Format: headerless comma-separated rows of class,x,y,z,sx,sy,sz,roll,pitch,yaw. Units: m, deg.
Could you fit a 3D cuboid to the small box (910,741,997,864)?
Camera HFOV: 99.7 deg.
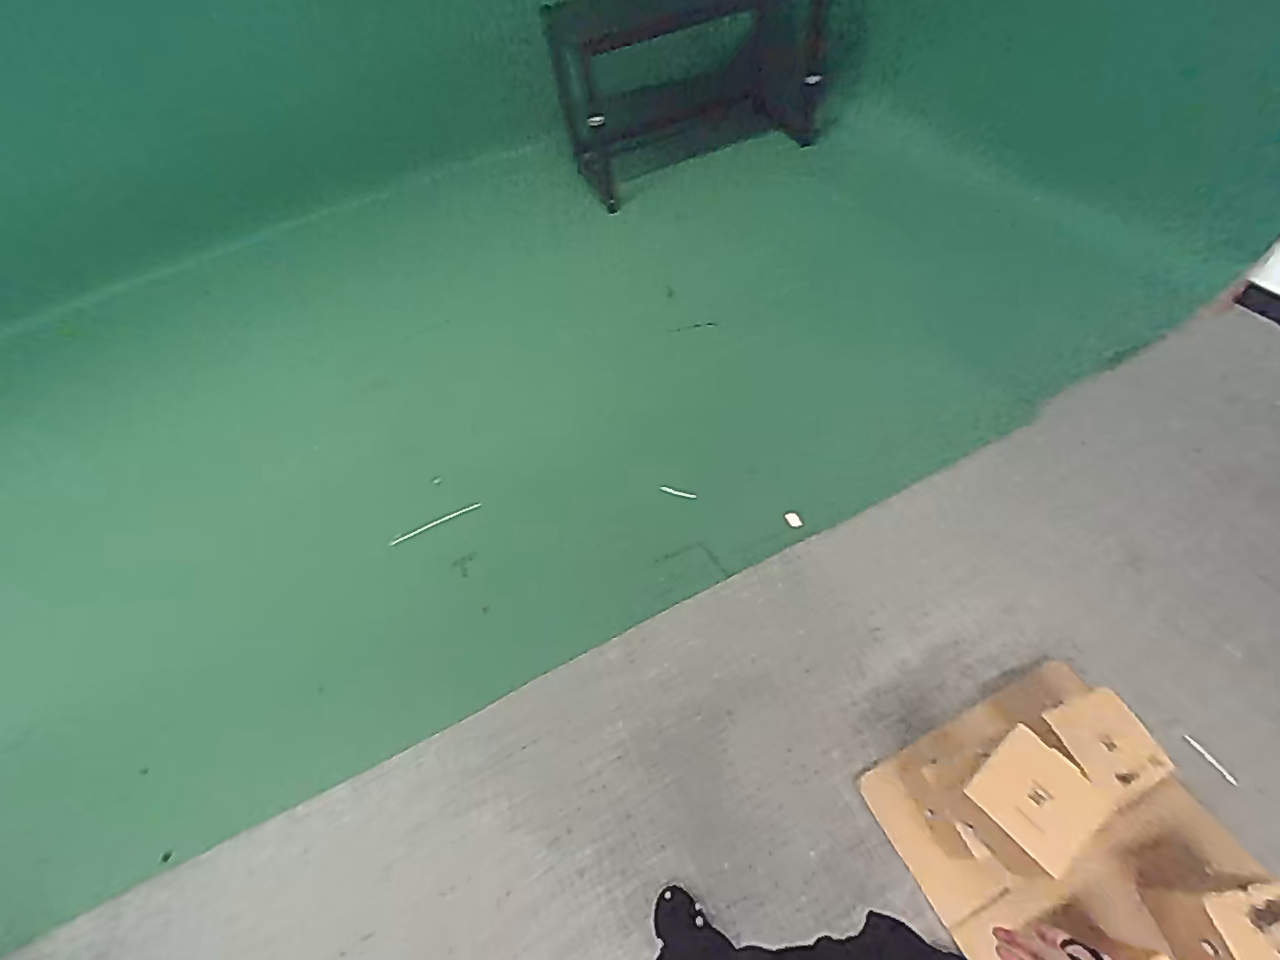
small box,0.692,0.671,1.122,0.179,0.176,0.168,-20,56,-6

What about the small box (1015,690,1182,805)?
small box,0.952,0.579,1.148,0.168,0.176,0.179,-19,55,-5

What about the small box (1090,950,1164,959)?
small box,0.842,0.938,0.912,0.179,0.176,0.168,-21,55,-7

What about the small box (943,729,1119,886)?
small box,0.690,0.589,0.979,0.179,0.176,0.168,-35,57,-15

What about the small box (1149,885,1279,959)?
small box,1.073,0.831,0.949,0.168,0.176,0.179,-12,56,0
